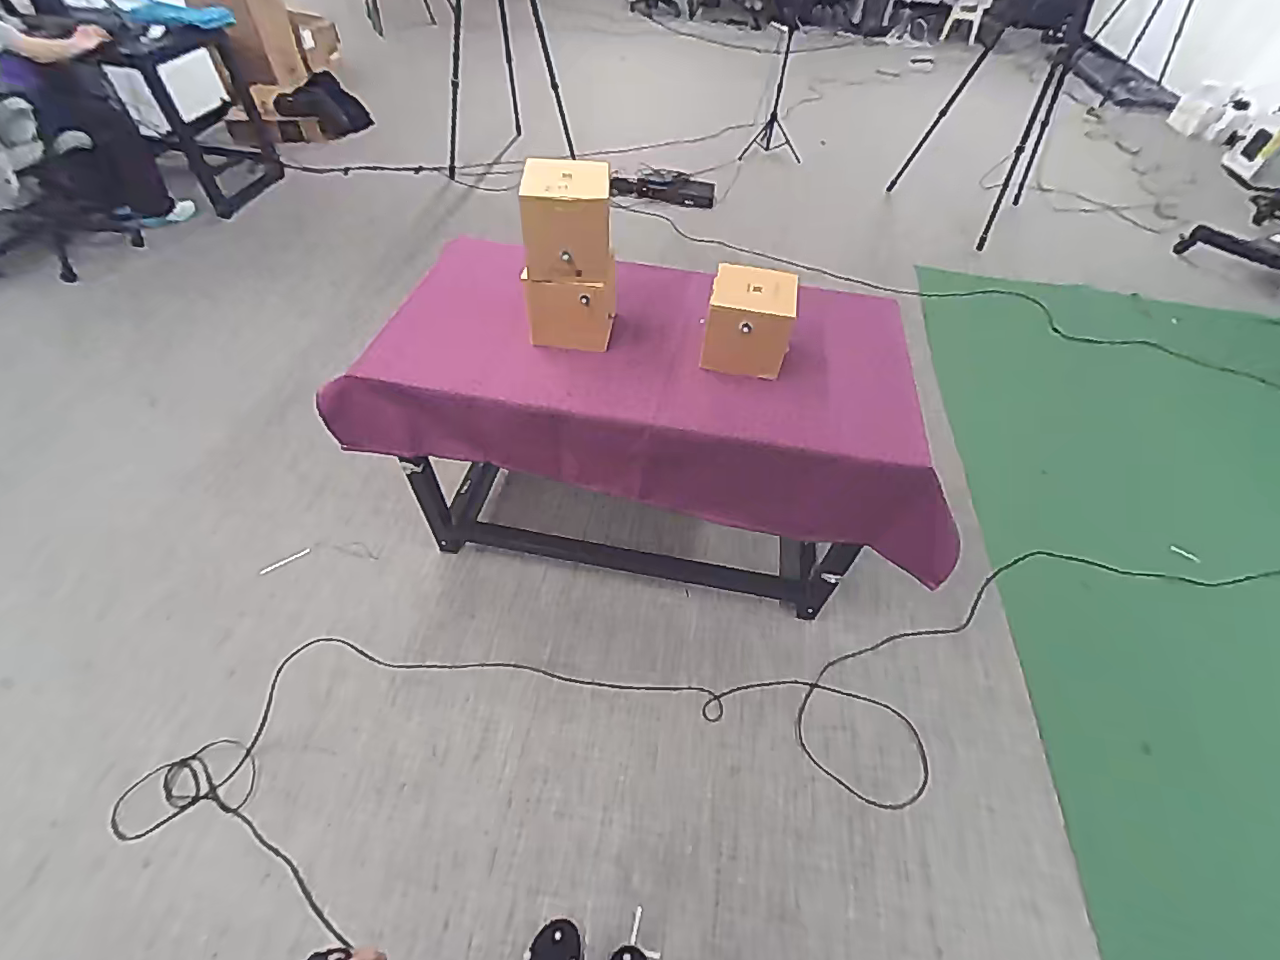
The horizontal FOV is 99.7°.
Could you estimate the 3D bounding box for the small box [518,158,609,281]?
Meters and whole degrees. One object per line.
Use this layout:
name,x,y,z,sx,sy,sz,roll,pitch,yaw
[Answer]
small box,-0.147,-0.527,1.099,0.168,0.176,0.179,0,51,-3

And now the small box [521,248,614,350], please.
small box,-0.157,-0.414,1.219,0.179,0.176,0.168,7,50,1

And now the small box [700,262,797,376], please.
small box,0.233,-0.349,1.187,0.179,0.176,0.168,11,52,5
